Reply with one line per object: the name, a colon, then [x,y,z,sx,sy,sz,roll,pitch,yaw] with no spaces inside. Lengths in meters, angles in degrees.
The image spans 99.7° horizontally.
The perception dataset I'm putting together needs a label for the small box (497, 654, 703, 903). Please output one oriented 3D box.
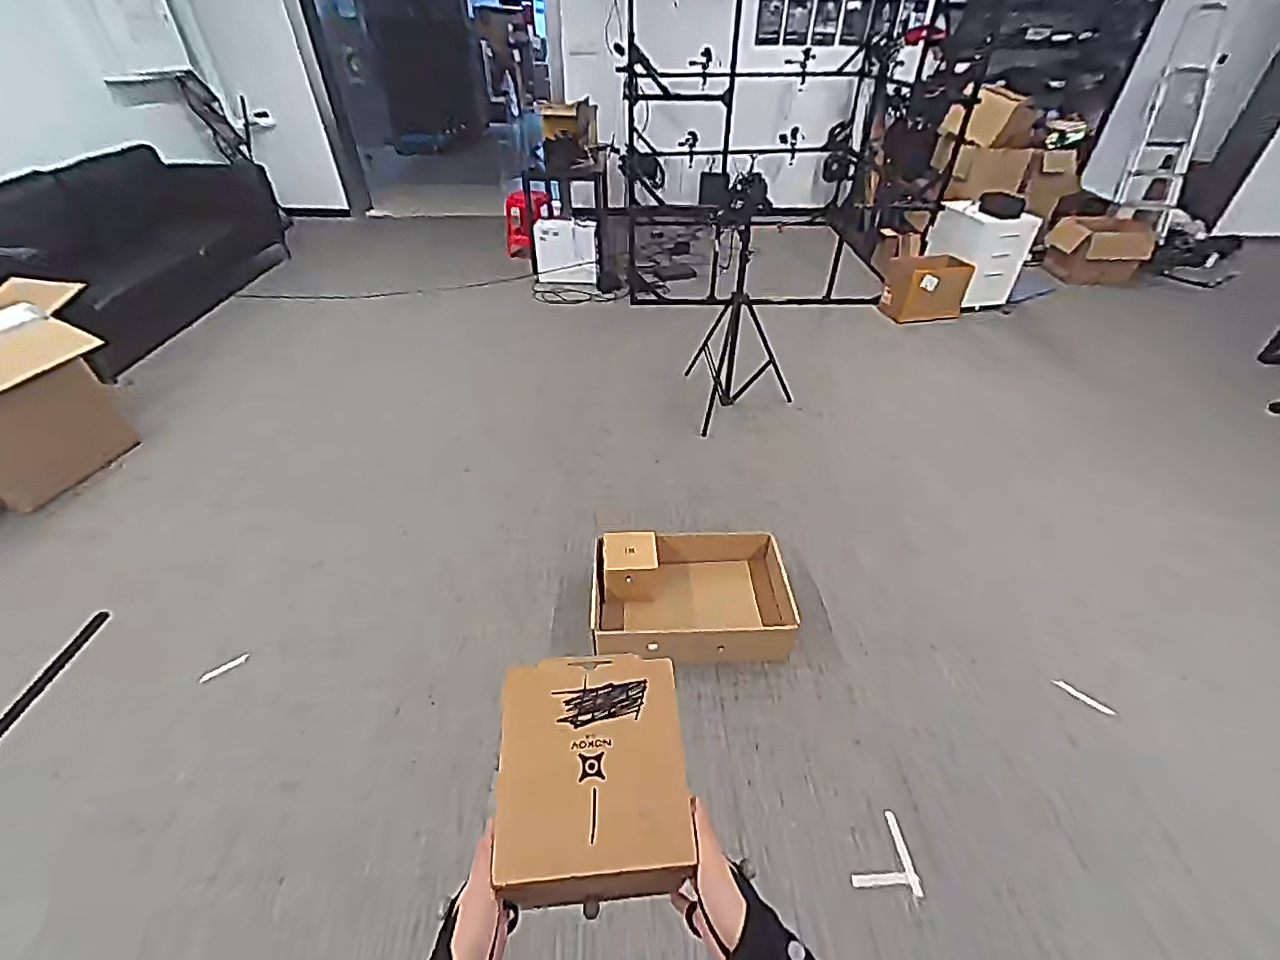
small box: [-0.041,0.296,0.539,0.168,0.176,0.179,-2,47,-5]
